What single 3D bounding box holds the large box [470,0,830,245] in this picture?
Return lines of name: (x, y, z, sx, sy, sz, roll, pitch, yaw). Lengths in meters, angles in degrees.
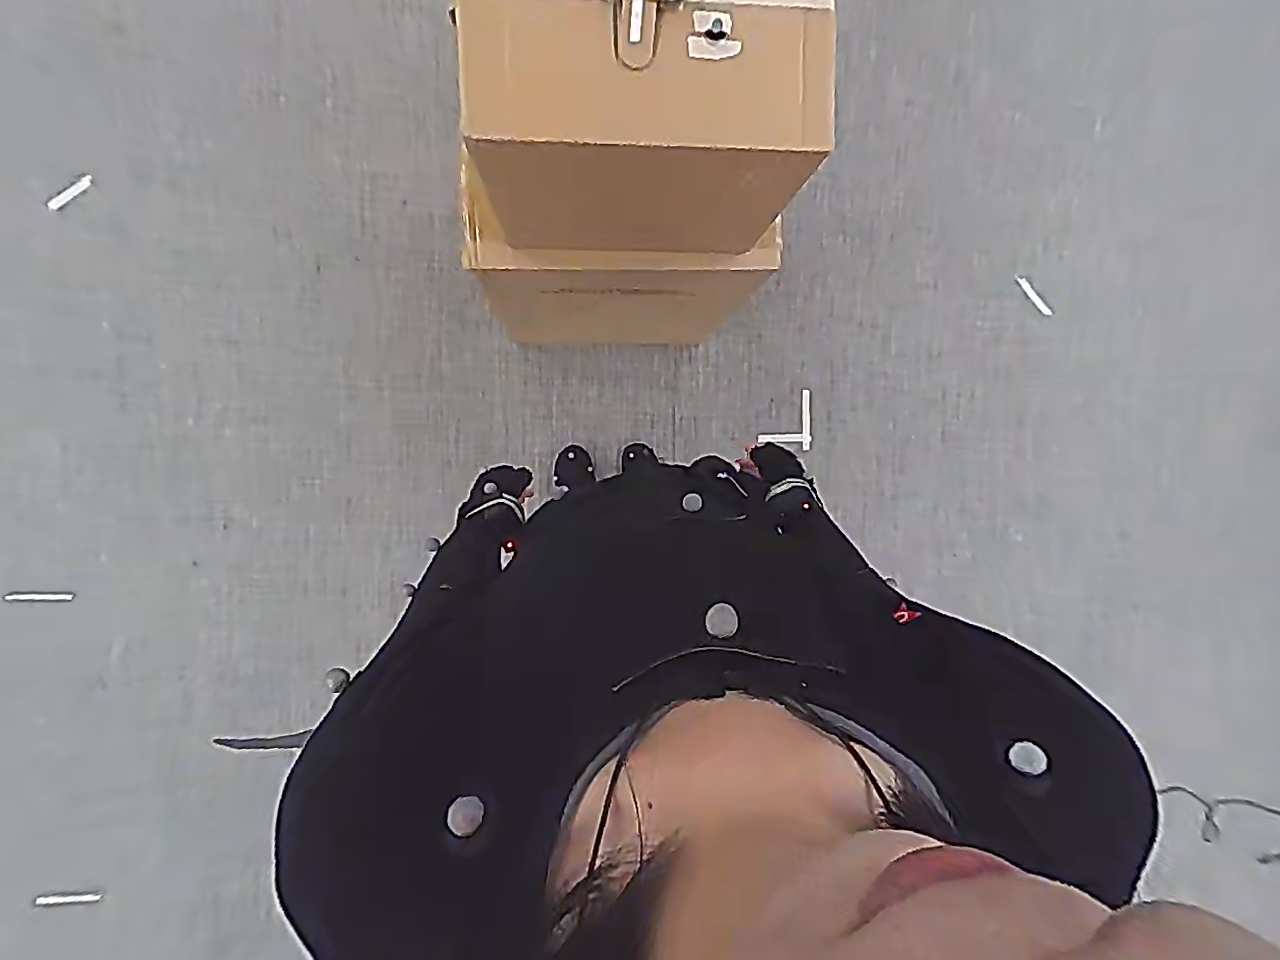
large box: (-0.002, -0.533, 0.737, 0.408, 0.320, 0.320, -2, 94, -6)
